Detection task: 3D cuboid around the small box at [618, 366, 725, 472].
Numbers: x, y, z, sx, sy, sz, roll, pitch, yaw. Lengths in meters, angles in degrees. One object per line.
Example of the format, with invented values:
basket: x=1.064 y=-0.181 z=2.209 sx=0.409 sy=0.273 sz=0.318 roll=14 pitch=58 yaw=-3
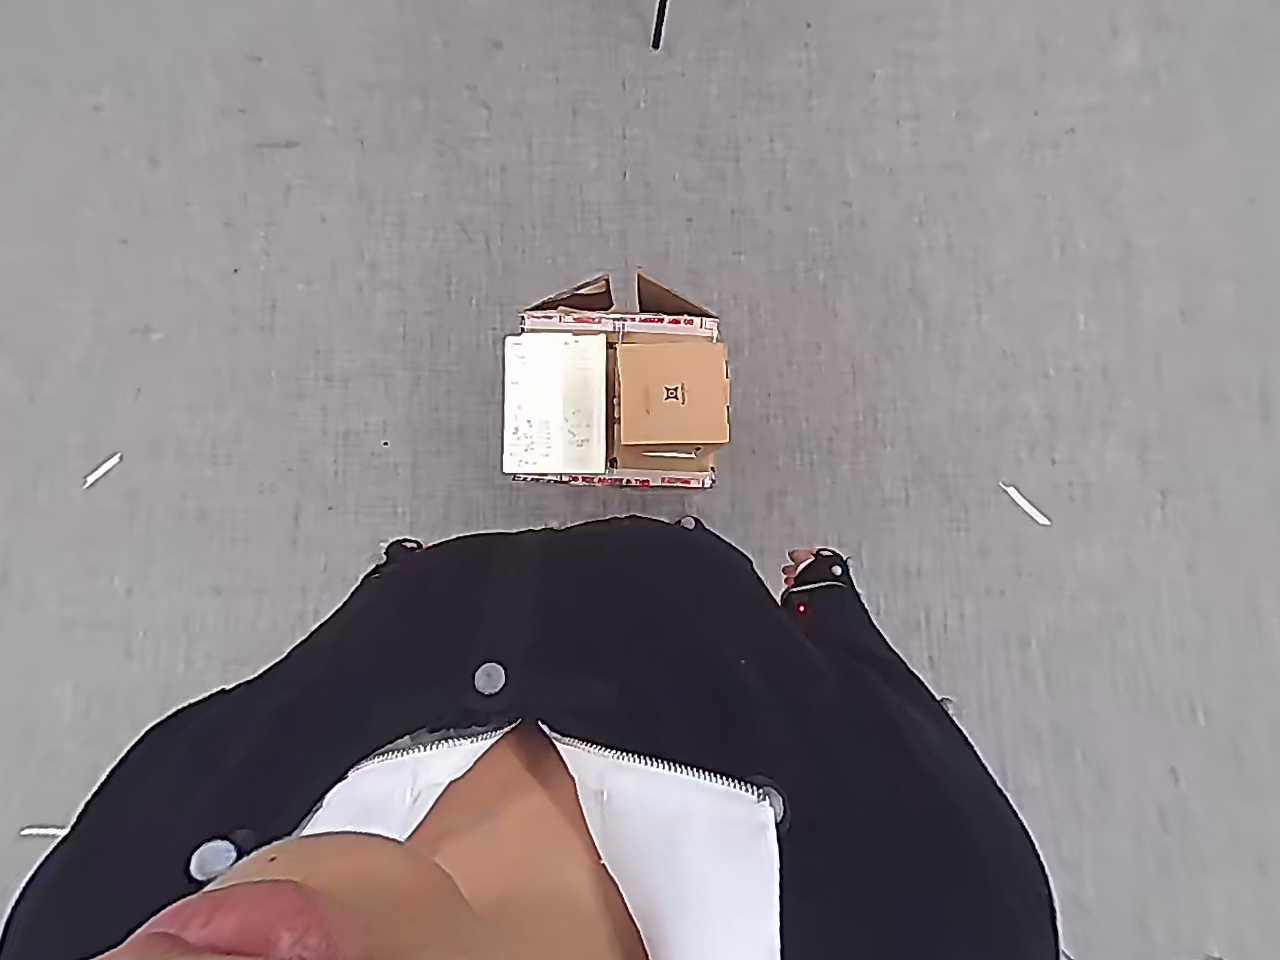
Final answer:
small box: x=0.050 y=-0.102 z=0.963 sx=0.179 sy=0.176 sz=0.168 roll=-2 pitch=87 yaw=0
